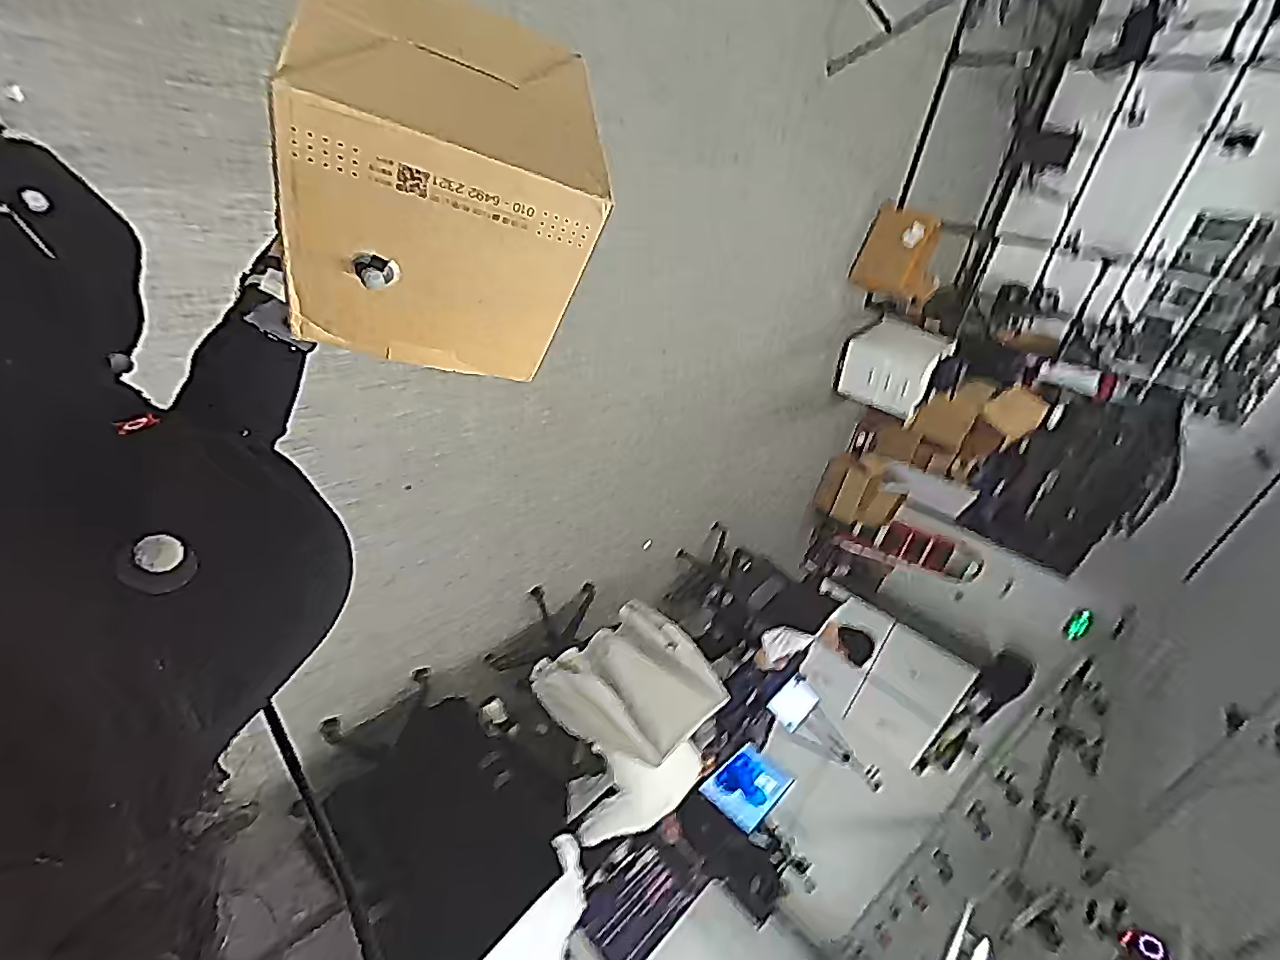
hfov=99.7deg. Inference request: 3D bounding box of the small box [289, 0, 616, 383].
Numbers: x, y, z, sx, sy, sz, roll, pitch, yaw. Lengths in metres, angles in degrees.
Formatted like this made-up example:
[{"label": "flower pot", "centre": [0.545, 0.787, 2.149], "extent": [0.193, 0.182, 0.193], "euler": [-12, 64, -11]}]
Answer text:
[{"label": "small box", "centre": [-0.128, -0.196, 0.365], "extent": [0.168, 0.179, 0.176], "euler": [7, 148, -28]}]
